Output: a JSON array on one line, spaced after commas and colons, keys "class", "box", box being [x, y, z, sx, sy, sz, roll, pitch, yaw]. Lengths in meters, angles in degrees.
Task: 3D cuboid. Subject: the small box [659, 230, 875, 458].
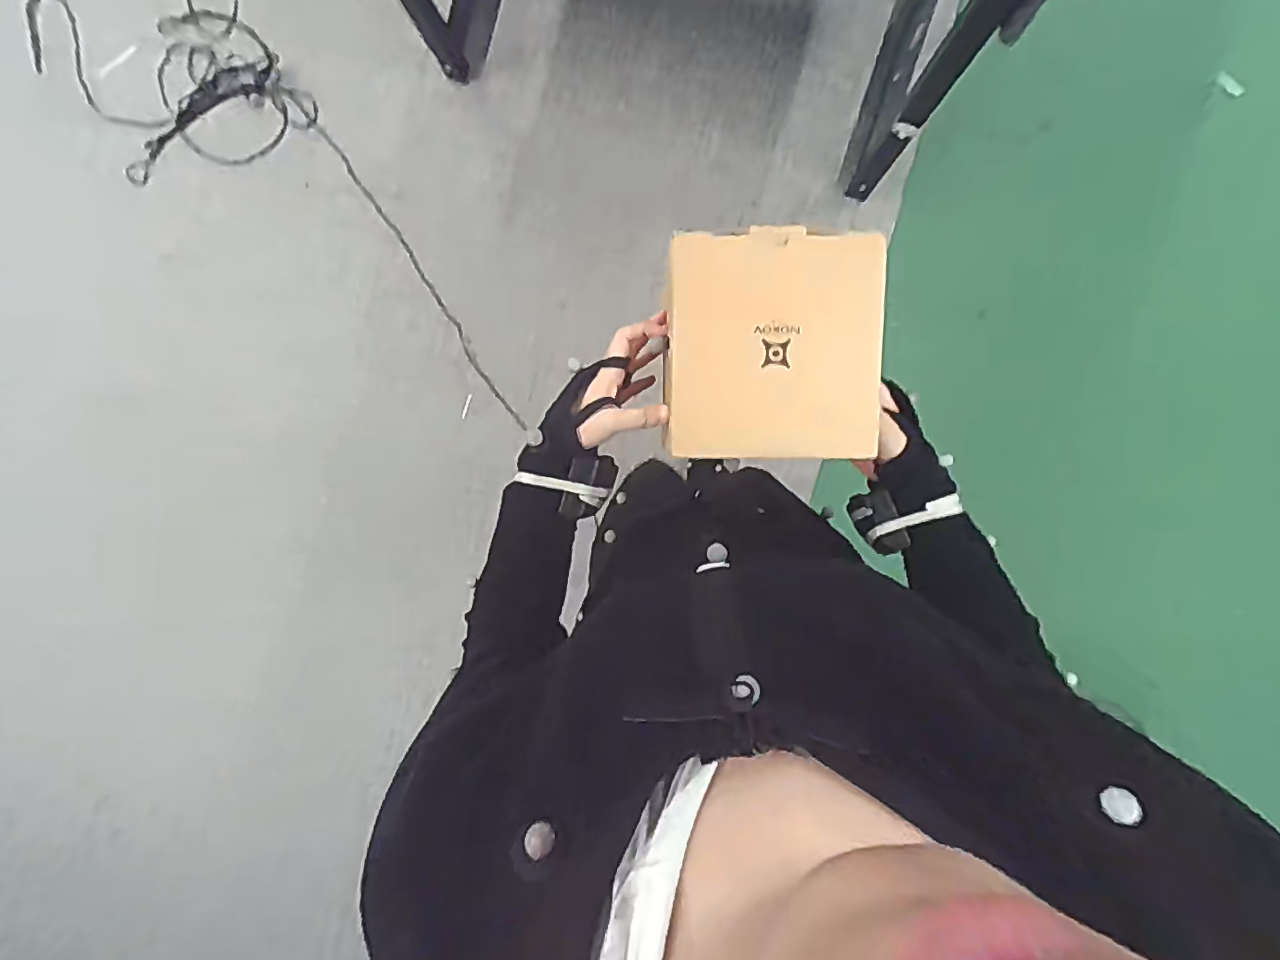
[{"class": "small box", "box": [0.103, -0.113, 0.505, 0.168, 0.176, 0.179, -1, 94, 1]}]
